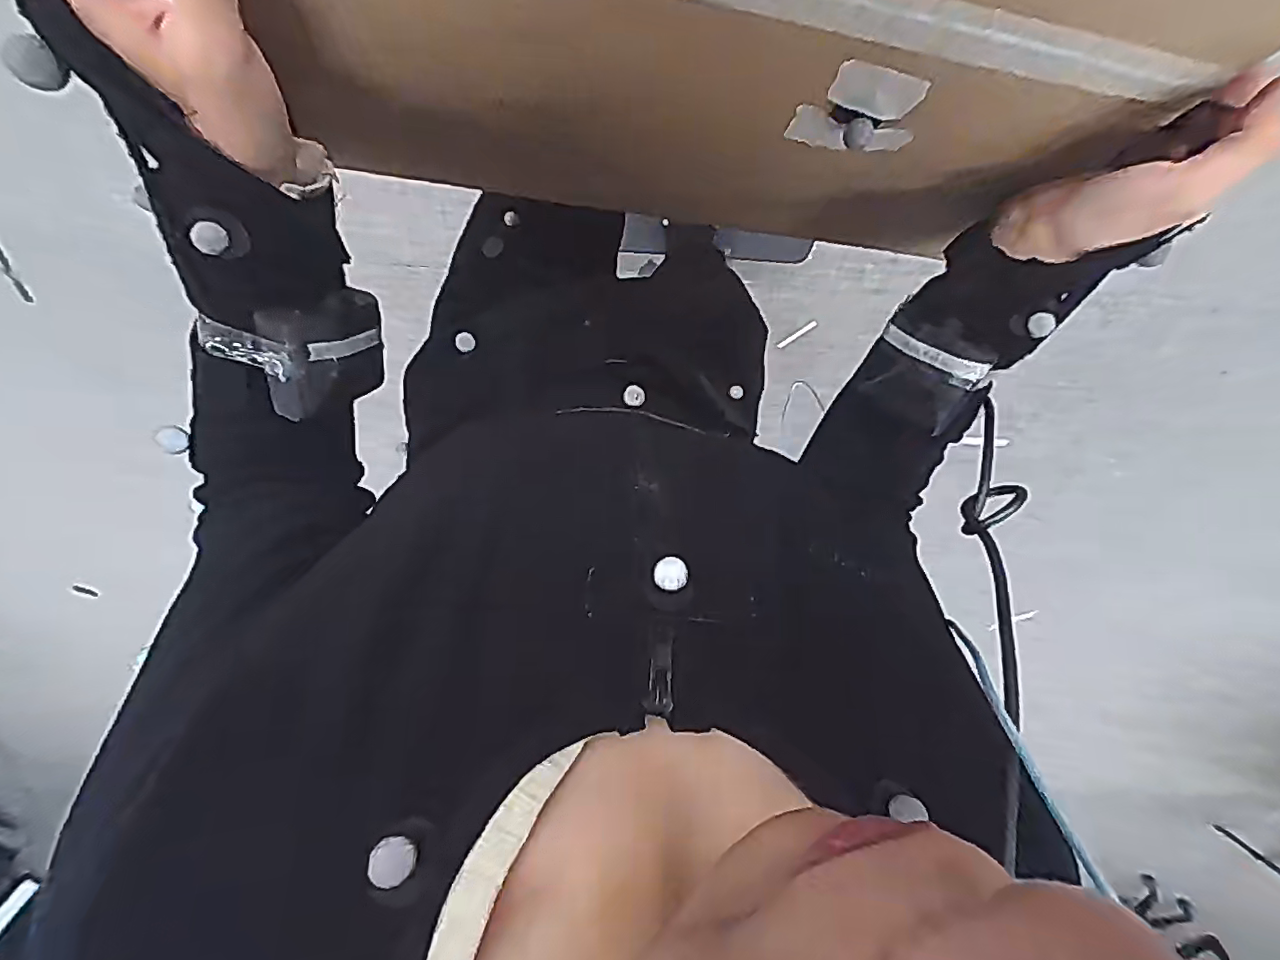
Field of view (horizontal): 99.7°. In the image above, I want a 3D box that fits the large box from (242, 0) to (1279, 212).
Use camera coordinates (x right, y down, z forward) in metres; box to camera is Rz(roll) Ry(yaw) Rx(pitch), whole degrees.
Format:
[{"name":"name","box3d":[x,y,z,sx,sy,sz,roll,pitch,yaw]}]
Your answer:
[{"name":"large box","box3d":[0.058,-0.336,0.168,0.408,0.320,0.320,2,87,-11]}]
